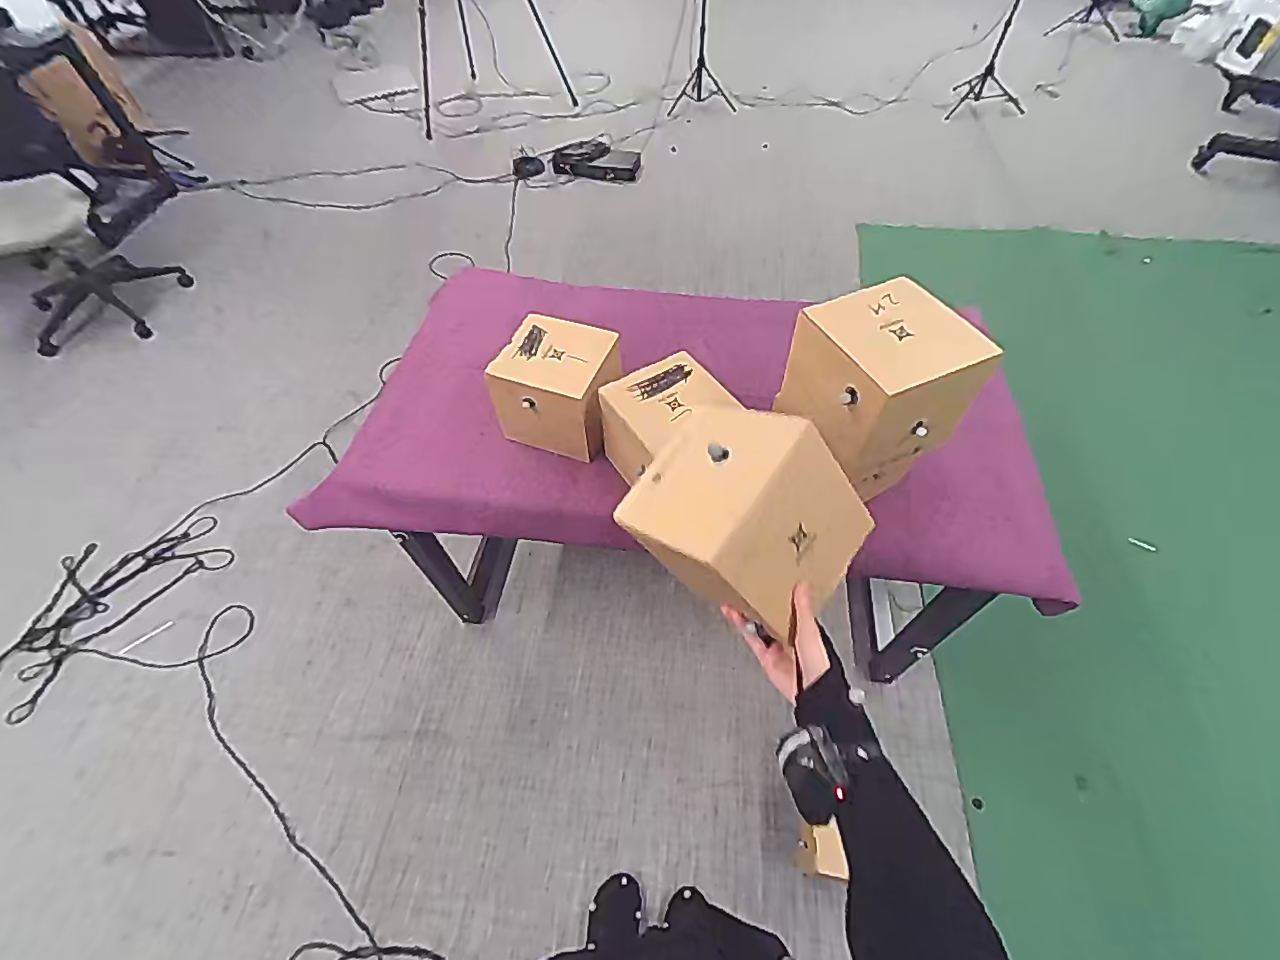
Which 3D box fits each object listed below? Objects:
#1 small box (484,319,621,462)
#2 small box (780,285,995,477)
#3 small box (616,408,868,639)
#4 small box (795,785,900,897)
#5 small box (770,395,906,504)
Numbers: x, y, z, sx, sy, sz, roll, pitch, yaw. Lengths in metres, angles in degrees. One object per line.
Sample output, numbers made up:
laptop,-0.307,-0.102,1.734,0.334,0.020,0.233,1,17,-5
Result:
small box,-0.145,-0.155,0.963,0.179,0.176,0.168,17,56,13
small box,0.312,-0.125,0.723,0.168,0.176,0.179,-20,54,-13
small box,0.106,0.036,0.586,0.168,0.179,0.176,-53,35,-13
small box,0.437,0.780,1.168,0.179,0.176,0.168,8,55,7
small box,0.322,-0.057,0.879,0.179,0.176,0.168,-27,57,-16
